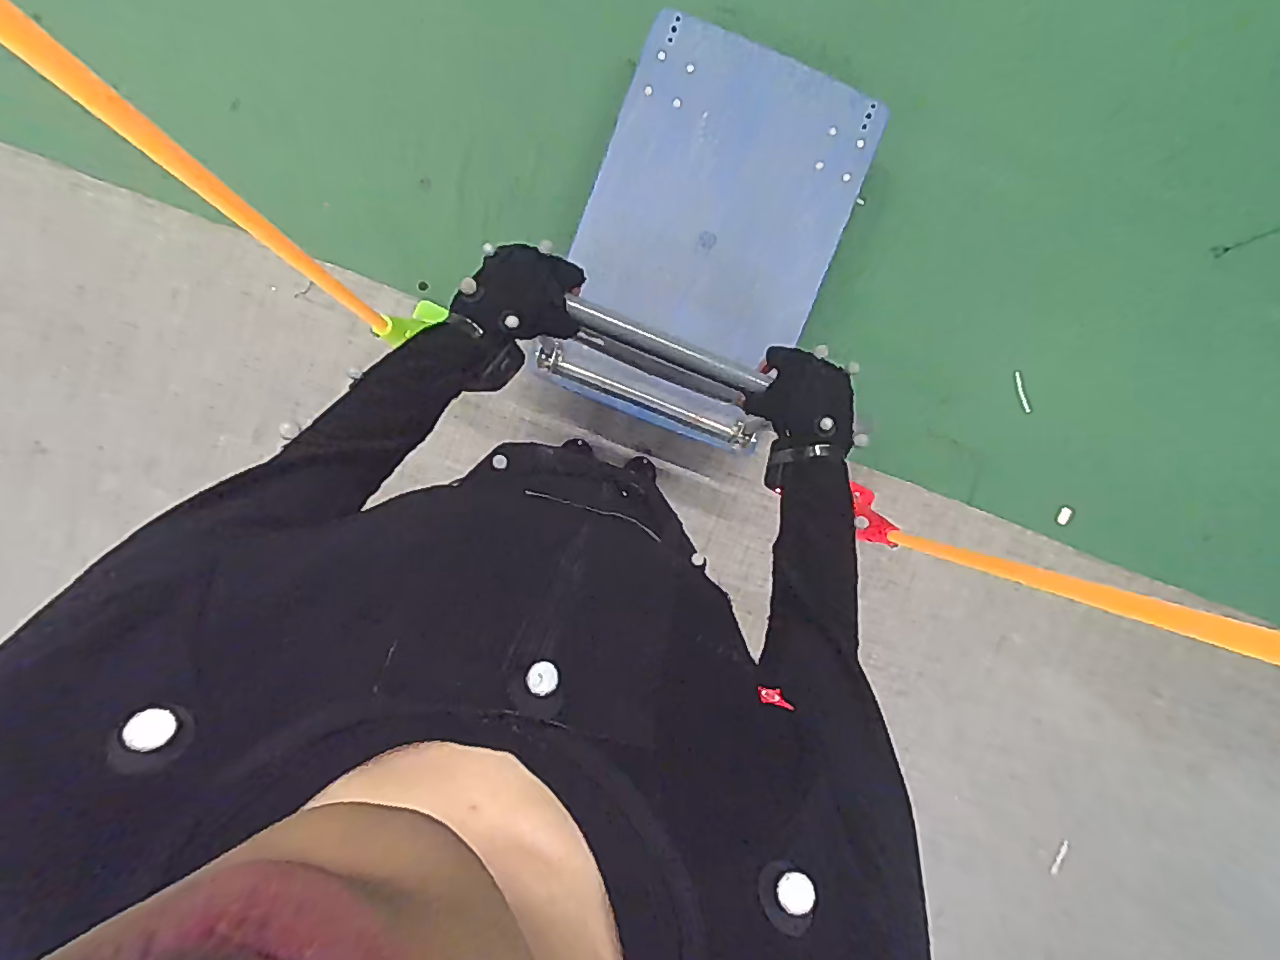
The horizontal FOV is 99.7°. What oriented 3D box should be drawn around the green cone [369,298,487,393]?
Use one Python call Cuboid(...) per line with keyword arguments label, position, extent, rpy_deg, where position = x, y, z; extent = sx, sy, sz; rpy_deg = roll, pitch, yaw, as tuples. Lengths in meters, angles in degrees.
Cuboid(label="green cone", position=(-0.520, -0.340, 1.251), extent=(0.202, 0.368, 0.200), rpy_deg=(25, 94, -3))
